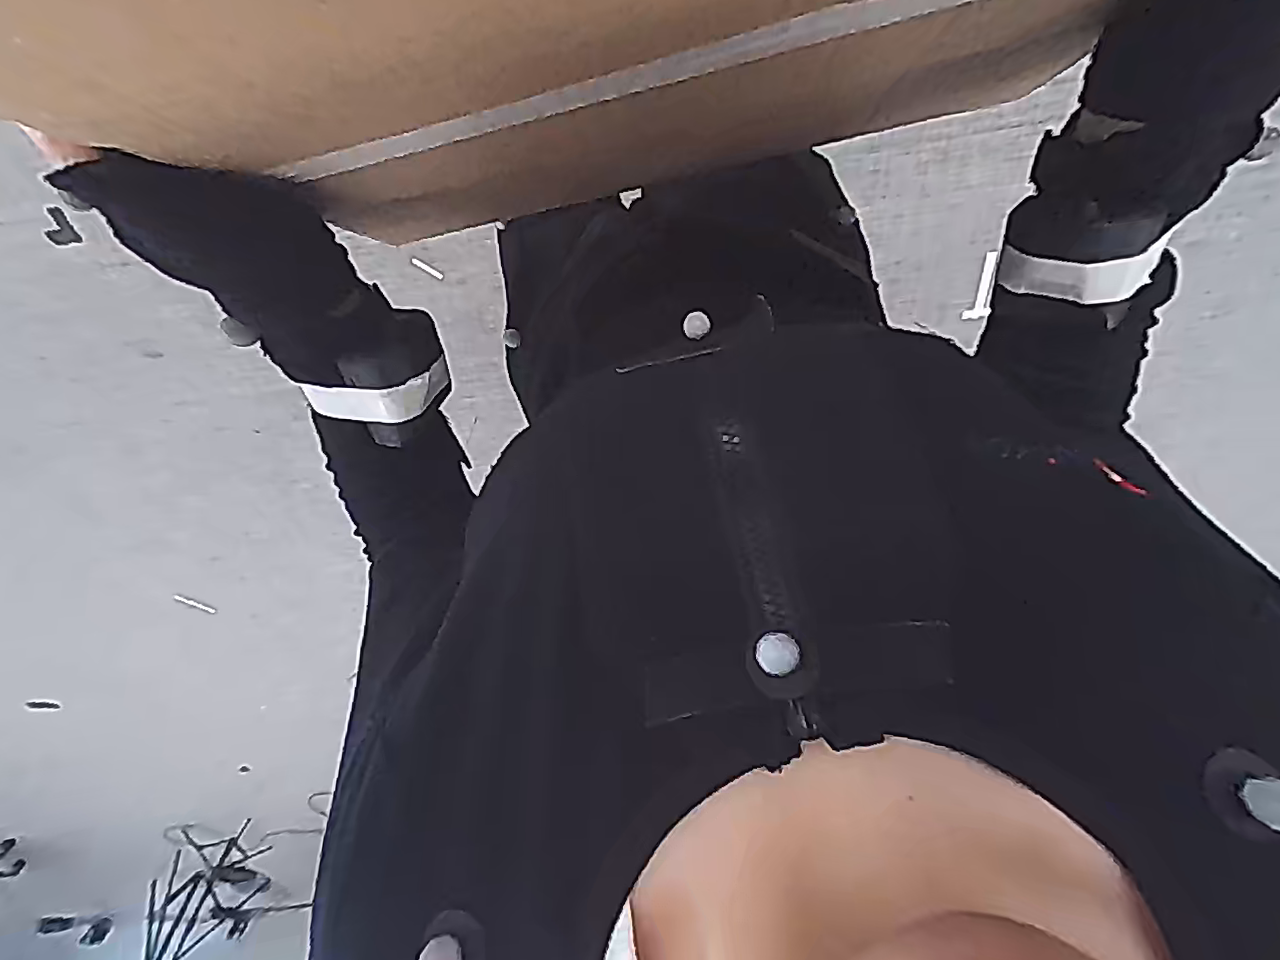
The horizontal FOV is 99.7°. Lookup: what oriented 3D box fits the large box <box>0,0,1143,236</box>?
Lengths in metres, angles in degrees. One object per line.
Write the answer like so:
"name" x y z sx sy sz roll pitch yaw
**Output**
"large box" -0.009 -0.310 0.170 0.408 0.320 0.320 -10 104 6
